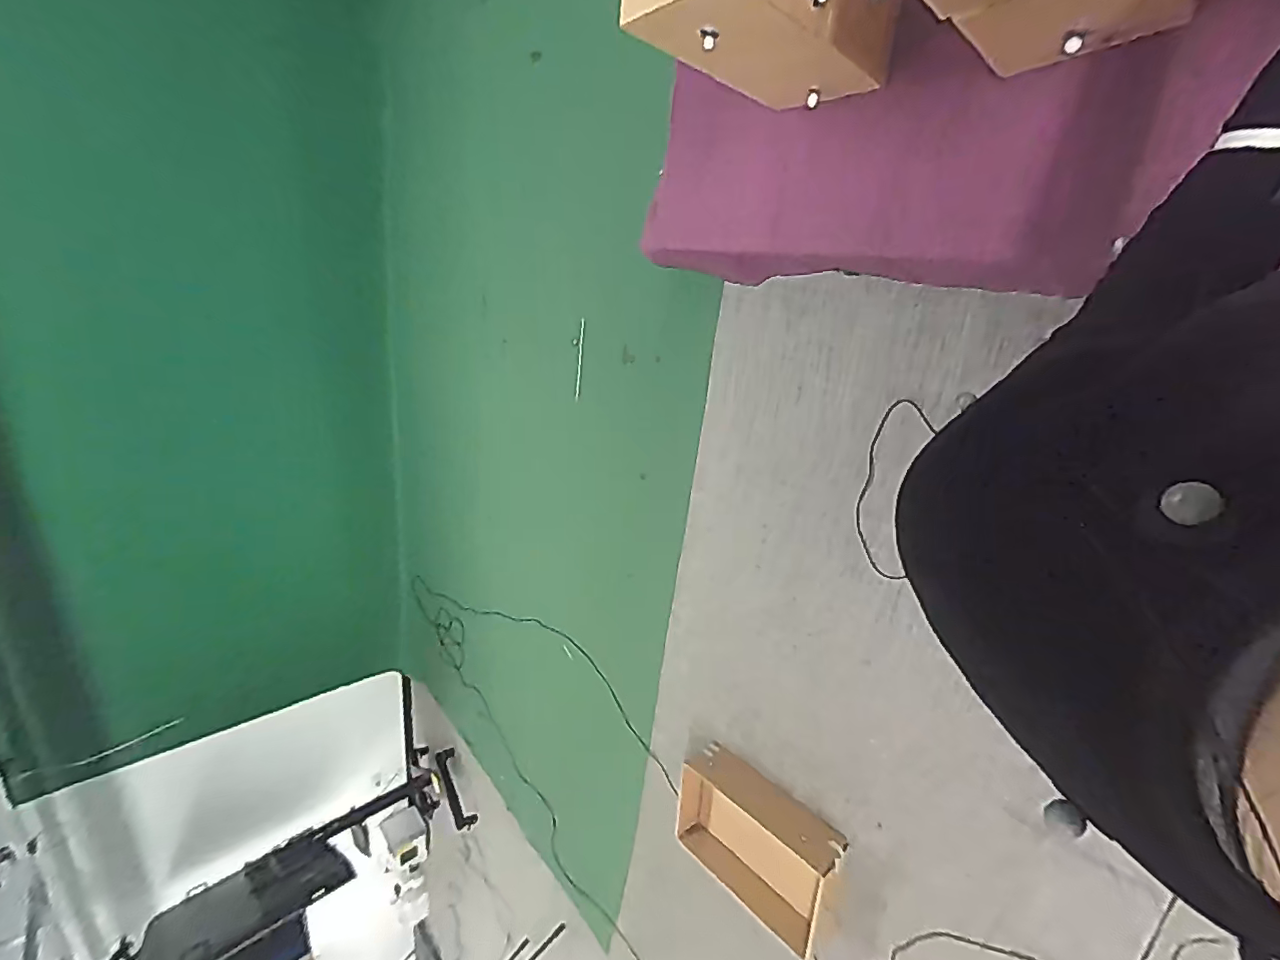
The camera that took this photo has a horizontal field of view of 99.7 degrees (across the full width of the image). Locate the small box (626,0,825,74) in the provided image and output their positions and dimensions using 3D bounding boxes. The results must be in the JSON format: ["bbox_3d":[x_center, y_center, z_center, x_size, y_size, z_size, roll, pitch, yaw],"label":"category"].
[{"bbox_3d":[0.107,-0.599,0.614,0.179,0.176,0.168,24,116,43],"label":"small box"}]

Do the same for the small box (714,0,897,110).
[{"bbox_3d":[0.227,-0.625,0.724,0.179,0.176,0.168,23,115,43],"label":"small box"}]

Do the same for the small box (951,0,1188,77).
[{"bbox_3d":[0.429,-0.538,0.522,0.168,0.176,0.179,17,112,45],"label":"small box"}]
